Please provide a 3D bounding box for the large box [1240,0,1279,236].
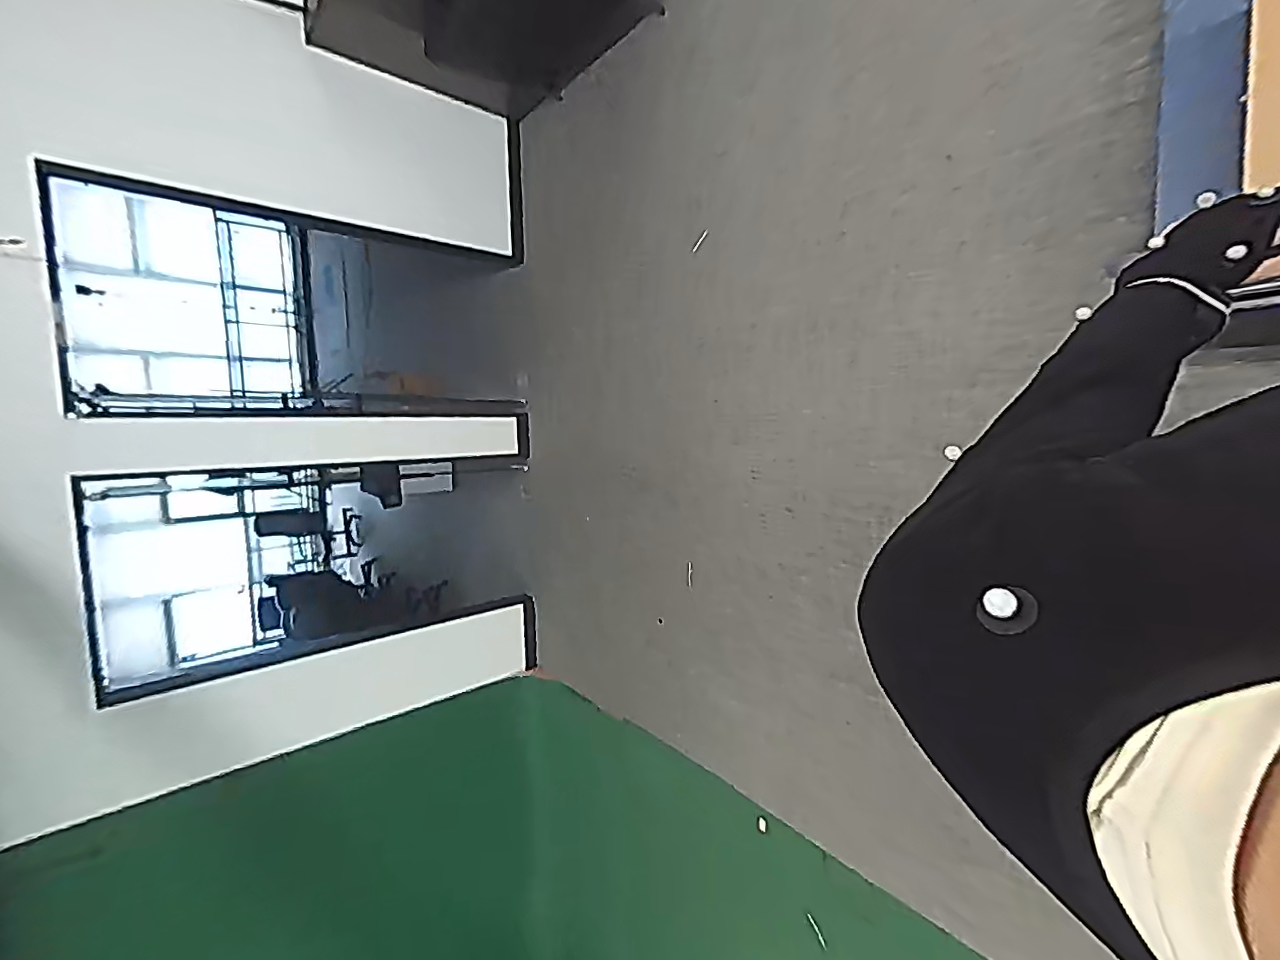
[{"bbox_3d":[1.092,-0.621,0.757,0.320,0.320,0.408,3,97,50],"label":"large box"}]
